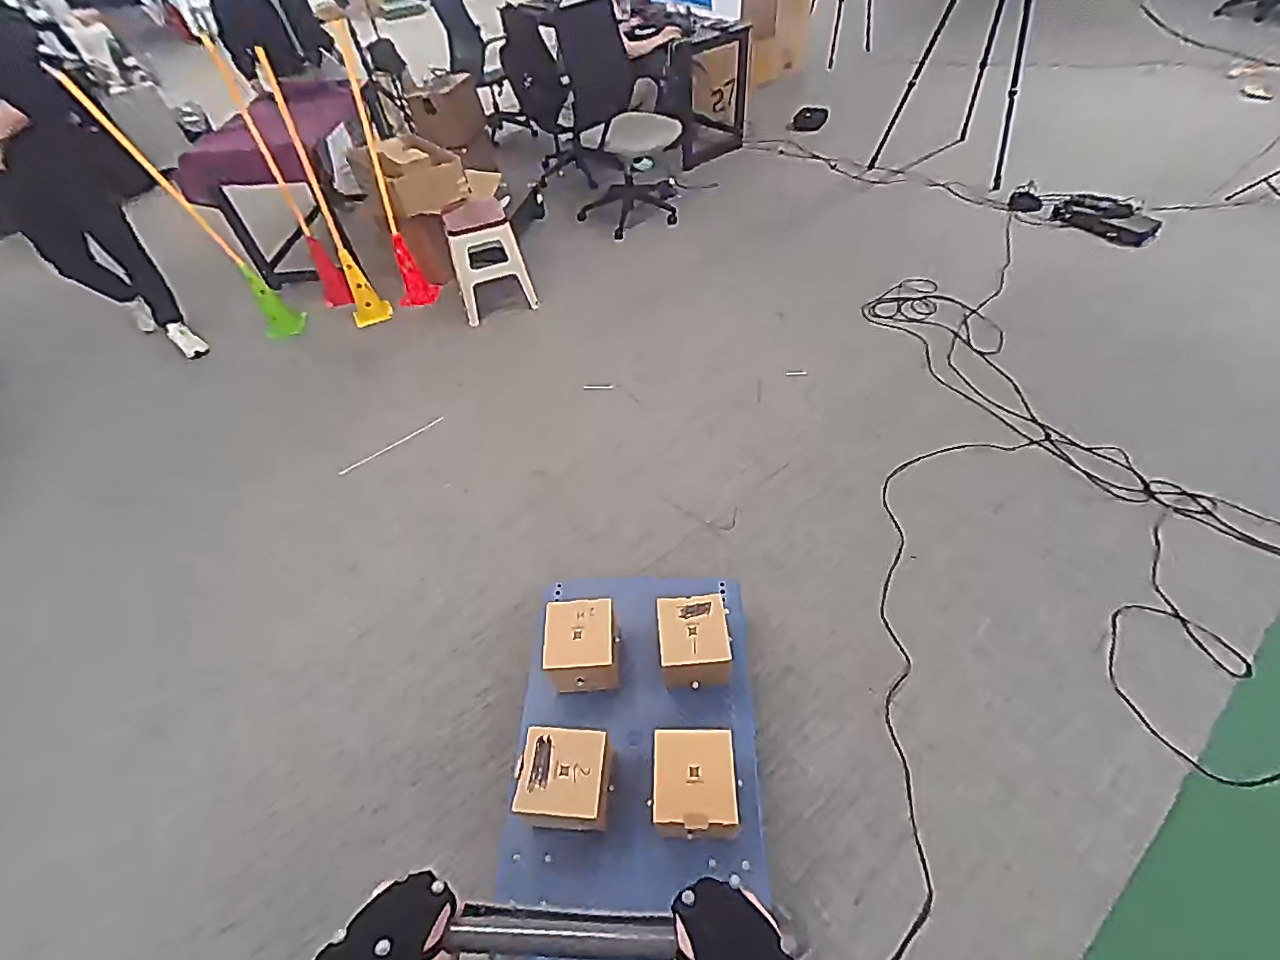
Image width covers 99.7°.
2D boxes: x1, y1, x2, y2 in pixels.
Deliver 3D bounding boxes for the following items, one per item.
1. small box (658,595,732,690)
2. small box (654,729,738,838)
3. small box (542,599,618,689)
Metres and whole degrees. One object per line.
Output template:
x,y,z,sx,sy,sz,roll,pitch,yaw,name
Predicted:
0.134,0.409,1.361,0.168,0.176,0.179,-5,51,2,small box
0.115,0.651,1.159,0.168,0.176,0.179,-1,50,4,small box
-0.145,0.422,1.375,0.168,0.176,0.179,-3,50,1,small box
